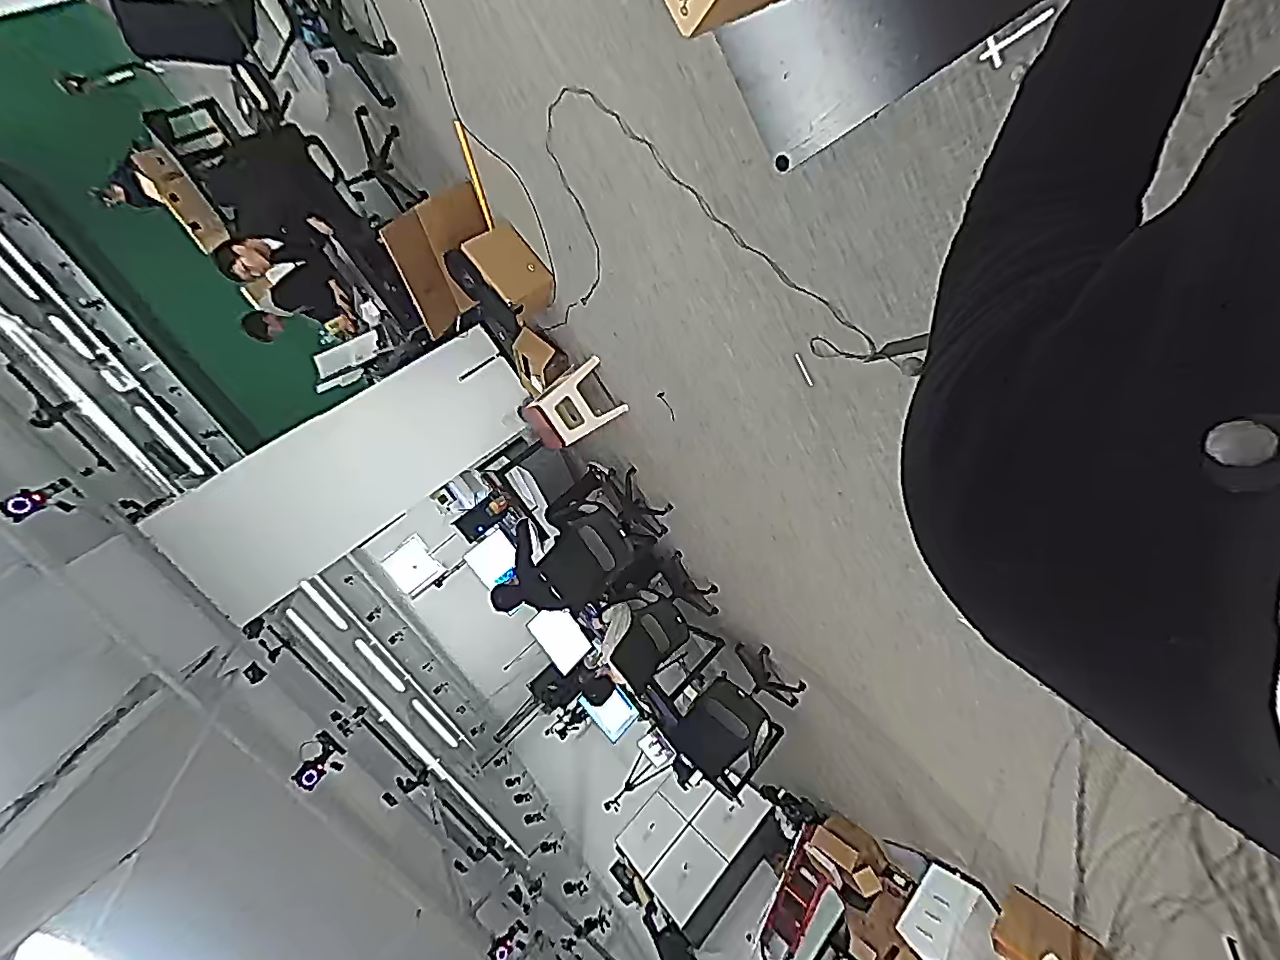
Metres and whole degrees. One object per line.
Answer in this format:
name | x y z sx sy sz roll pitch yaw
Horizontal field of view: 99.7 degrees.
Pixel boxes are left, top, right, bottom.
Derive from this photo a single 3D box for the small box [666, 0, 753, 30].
small box | 0.102 -0.635 0.561 0.168 0.176 0.179 56 155 -15
